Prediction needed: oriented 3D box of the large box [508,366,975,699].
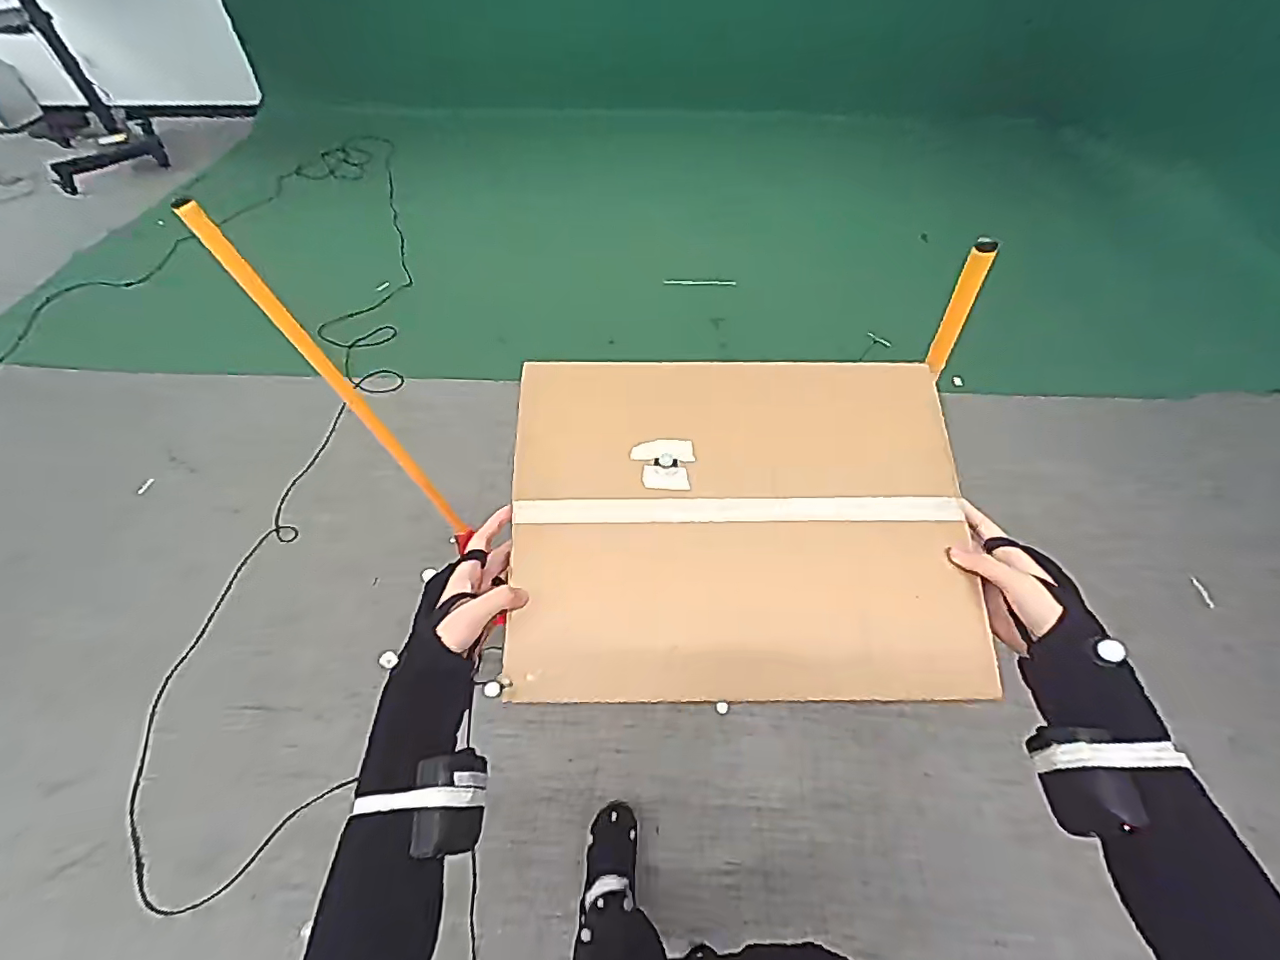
[{"bbox_3d":[0.086,0.081,0.643,0.408,0.320,0.320,-1,70,0],"label":"large box"}]
